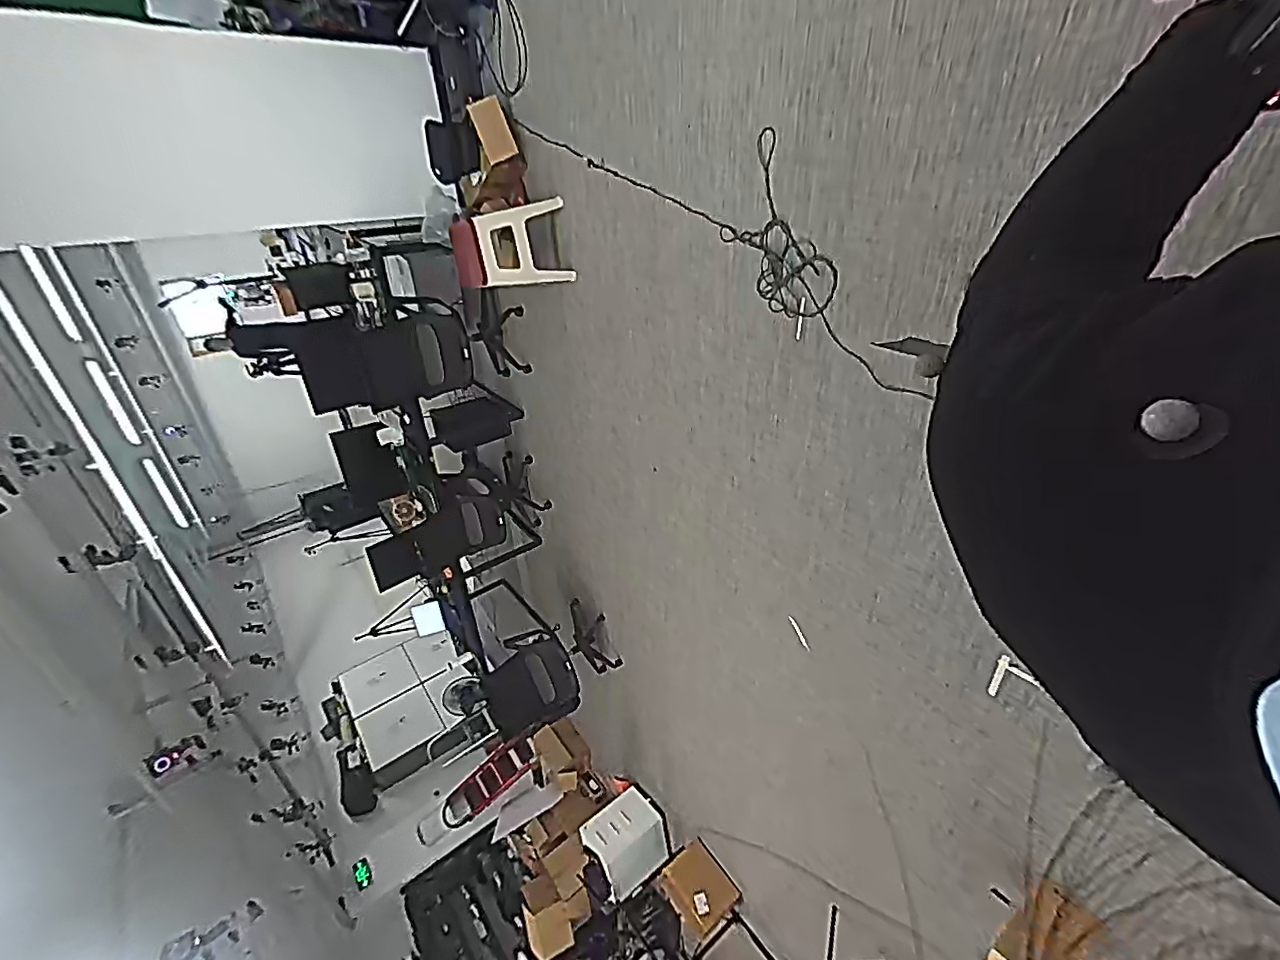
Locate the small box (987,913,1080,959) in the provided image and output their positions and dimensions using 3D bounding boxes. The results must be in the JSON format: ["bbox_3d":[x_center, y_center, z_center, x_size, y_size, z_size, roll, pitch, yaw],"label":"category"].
[{"bbox_3d":[1.188,1.477,1.645,0.179,0.176,0.168,26,130,46],"label":"small box"}]

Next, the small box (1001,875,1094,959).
[{"bbox_3d":[1.313,1.427,1.738,0.168,0.176,0.179,35,138,41],"label":"small box"}]
